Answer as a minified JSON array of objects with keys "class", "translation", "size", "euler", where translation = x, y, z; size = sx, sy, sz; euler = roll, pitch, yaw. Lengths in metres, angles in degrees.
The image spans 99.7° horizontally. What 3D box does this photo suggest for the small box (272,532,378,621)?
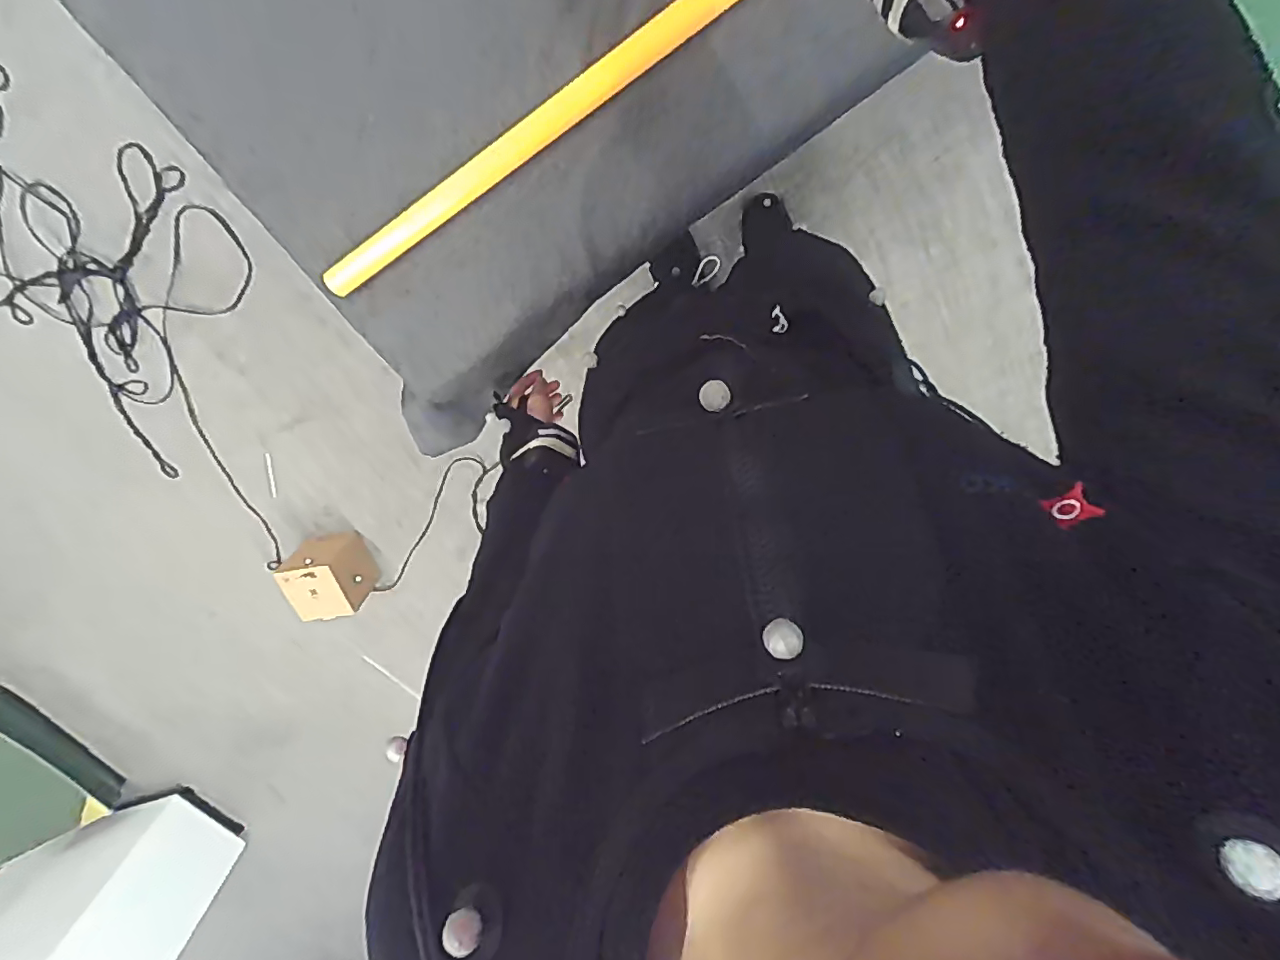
[{"class":"small box","translation":[-0.883,0.273,1.538],"size":[0.168,0.176,0.179],"euler":[-9,118,7]}]
